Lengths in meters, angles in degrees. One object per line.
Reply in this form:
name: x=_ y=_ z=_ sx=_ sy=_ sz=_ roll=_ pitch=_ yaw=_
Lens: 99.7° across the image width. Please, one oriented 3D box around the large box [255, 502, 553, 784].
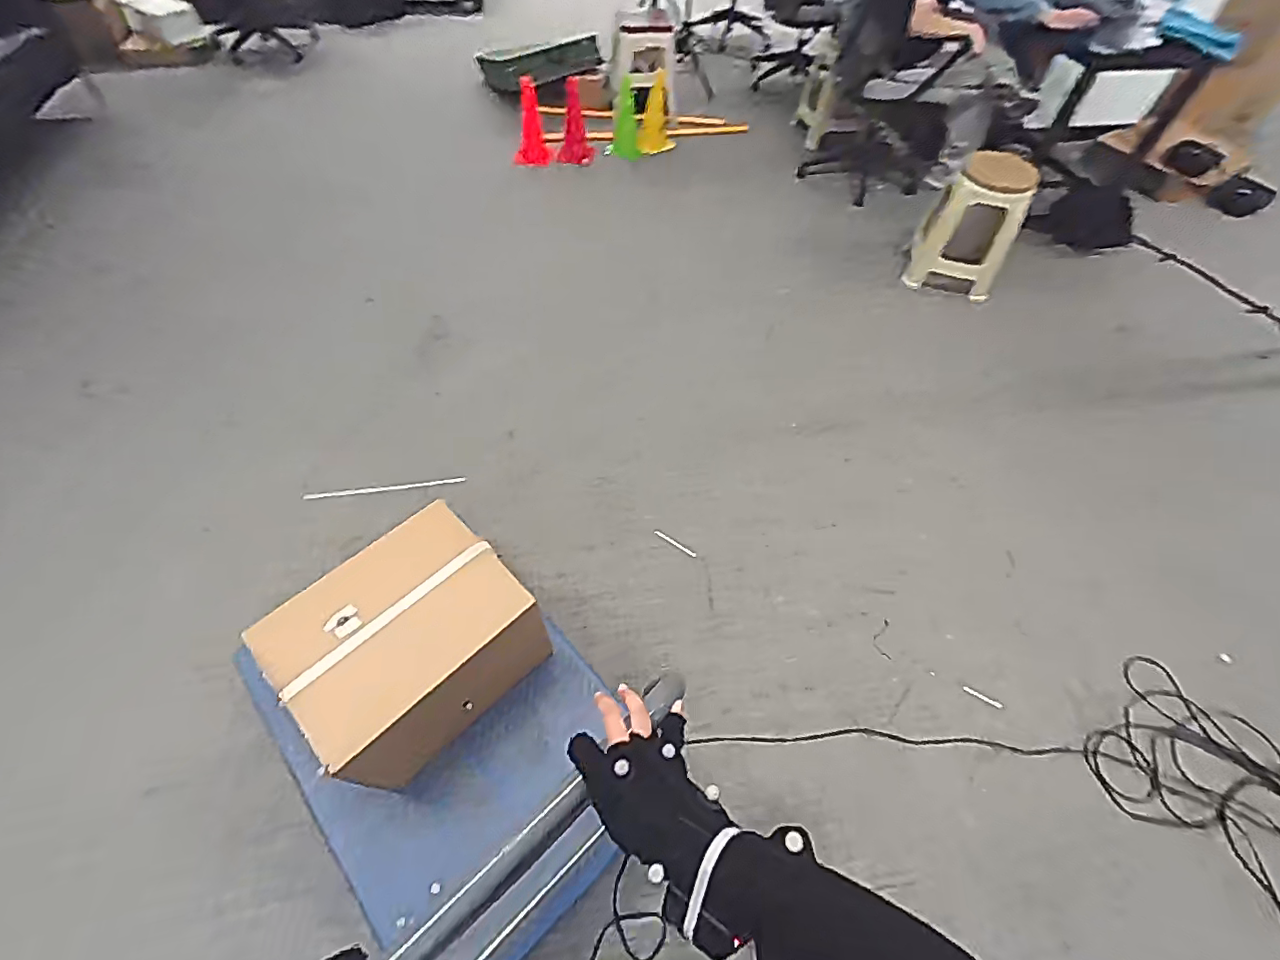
large box: x=-0.436 y=0.329 z=1.097 sx=0.320 sy=0.320 sz=0.408 roll=39 pitch=64 yaw=23
